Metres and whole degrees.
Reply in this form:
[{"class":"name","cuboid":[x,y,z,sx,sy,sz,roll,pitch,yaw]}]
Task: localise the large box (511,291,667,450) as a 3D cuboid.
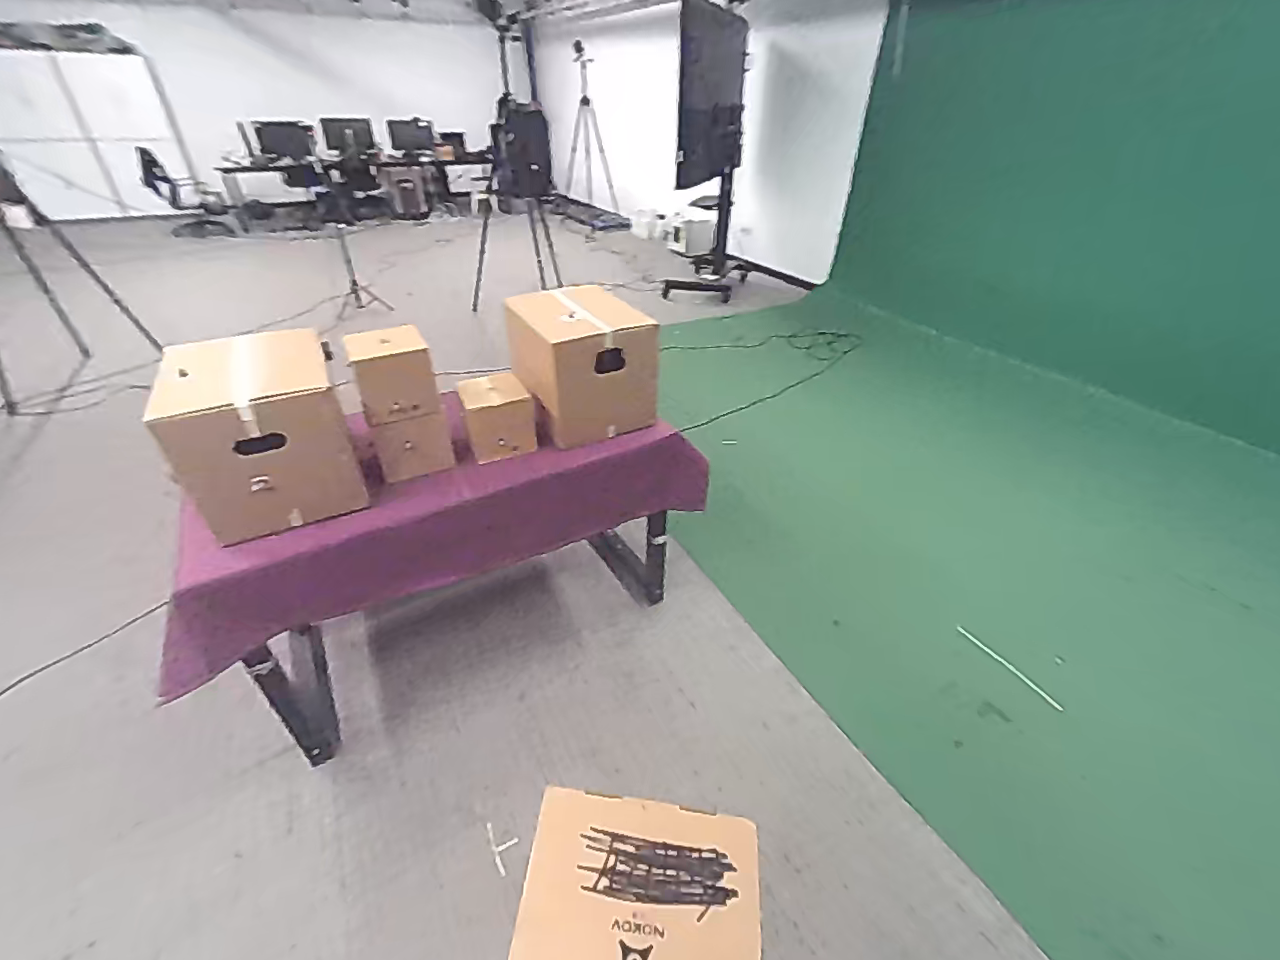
[{"class":"large box","cuboid":[-0.161,-0.341,1.612,0.320,0.320,0.408,-17,40,-24]}]
